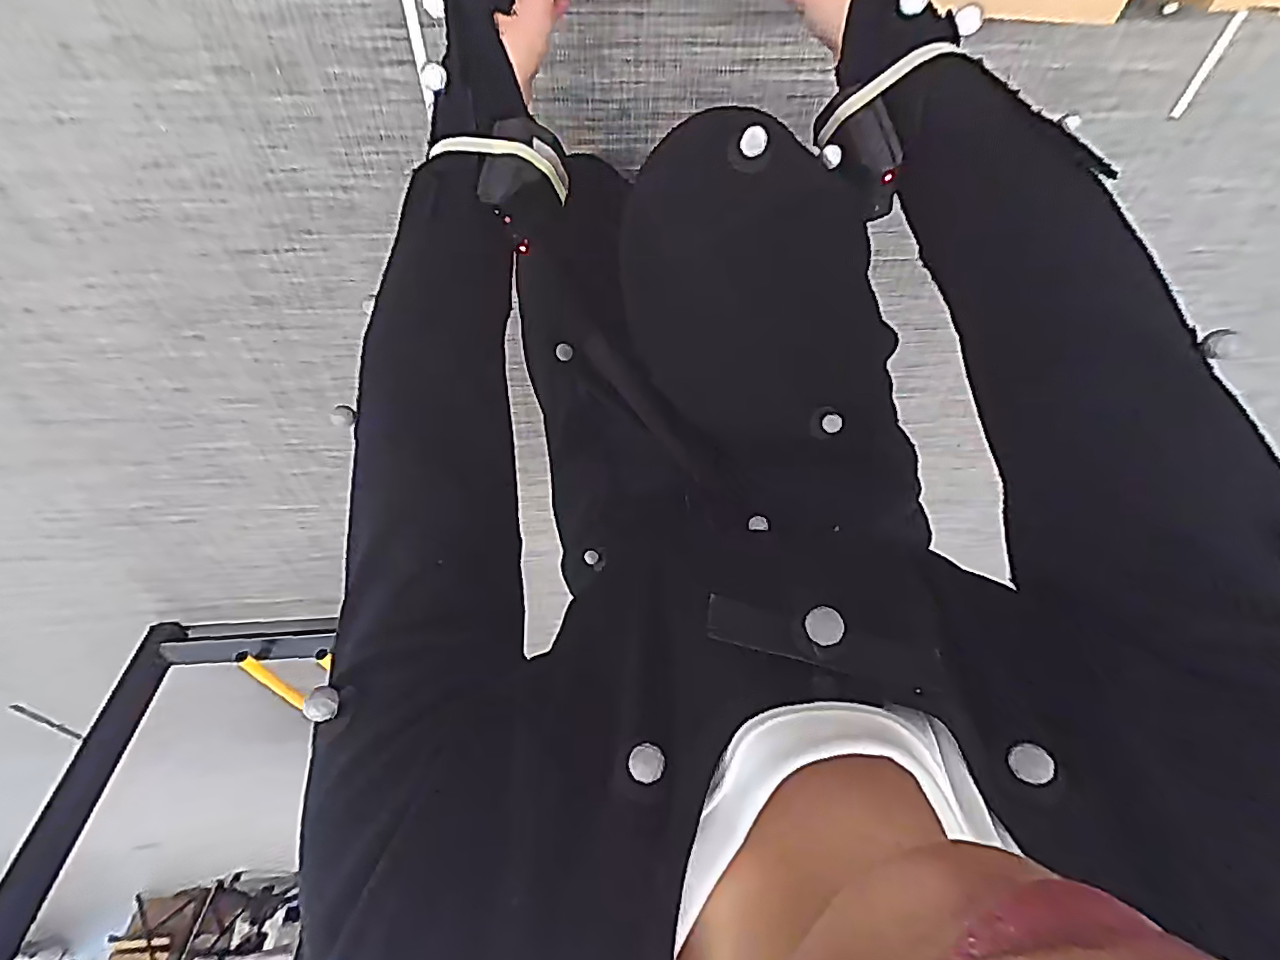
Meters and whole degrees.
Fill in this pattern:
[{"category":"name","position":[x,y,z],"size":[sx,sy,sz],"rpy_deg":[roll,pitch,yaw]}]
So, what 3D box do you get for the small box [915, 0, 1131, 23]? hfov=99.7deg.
[{"category":"small box","position":[0.265,-0.448,0.374],"size":[0.168,0.176,0.179],"rpy_deg":[-1,139,-6]}]
